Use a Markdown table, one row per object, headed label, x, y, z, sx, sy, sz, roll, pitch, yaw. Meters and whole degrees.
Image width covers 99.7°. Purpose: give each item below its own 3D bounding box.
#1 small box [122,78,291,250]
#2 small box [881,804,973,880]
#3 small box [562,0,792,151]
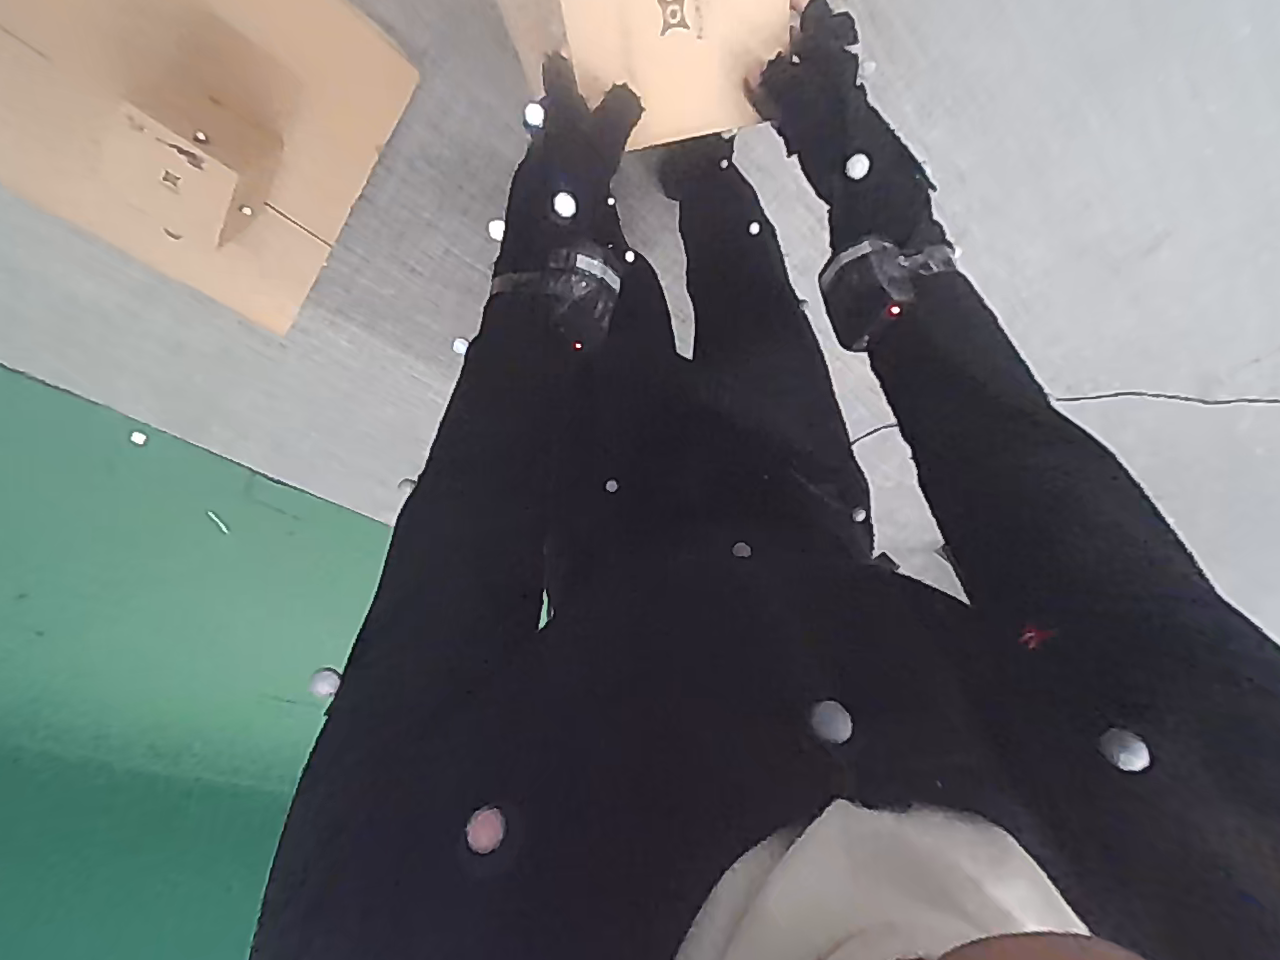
| label | x | y | z | sx | sy | sz | roll | pitch | yaw |
| --- | --- | --- | --- | --- | --- | --- | --- | --- | --- |
| small box | -0.748 | -0.551 | 0.946 | 0.168 | 0.176 | 0.179 | 29 | 130 | -26 |
| small box | 0.895 | 1.139 | 1.705 | 0.179 | 0.176 | 0.168 | 28 | 129 | -26 |
| small box | 0.027 | -0.414 | 0.480 | 0.179 | 0.176 | 0.168 | -9 | 128 | 6 |
